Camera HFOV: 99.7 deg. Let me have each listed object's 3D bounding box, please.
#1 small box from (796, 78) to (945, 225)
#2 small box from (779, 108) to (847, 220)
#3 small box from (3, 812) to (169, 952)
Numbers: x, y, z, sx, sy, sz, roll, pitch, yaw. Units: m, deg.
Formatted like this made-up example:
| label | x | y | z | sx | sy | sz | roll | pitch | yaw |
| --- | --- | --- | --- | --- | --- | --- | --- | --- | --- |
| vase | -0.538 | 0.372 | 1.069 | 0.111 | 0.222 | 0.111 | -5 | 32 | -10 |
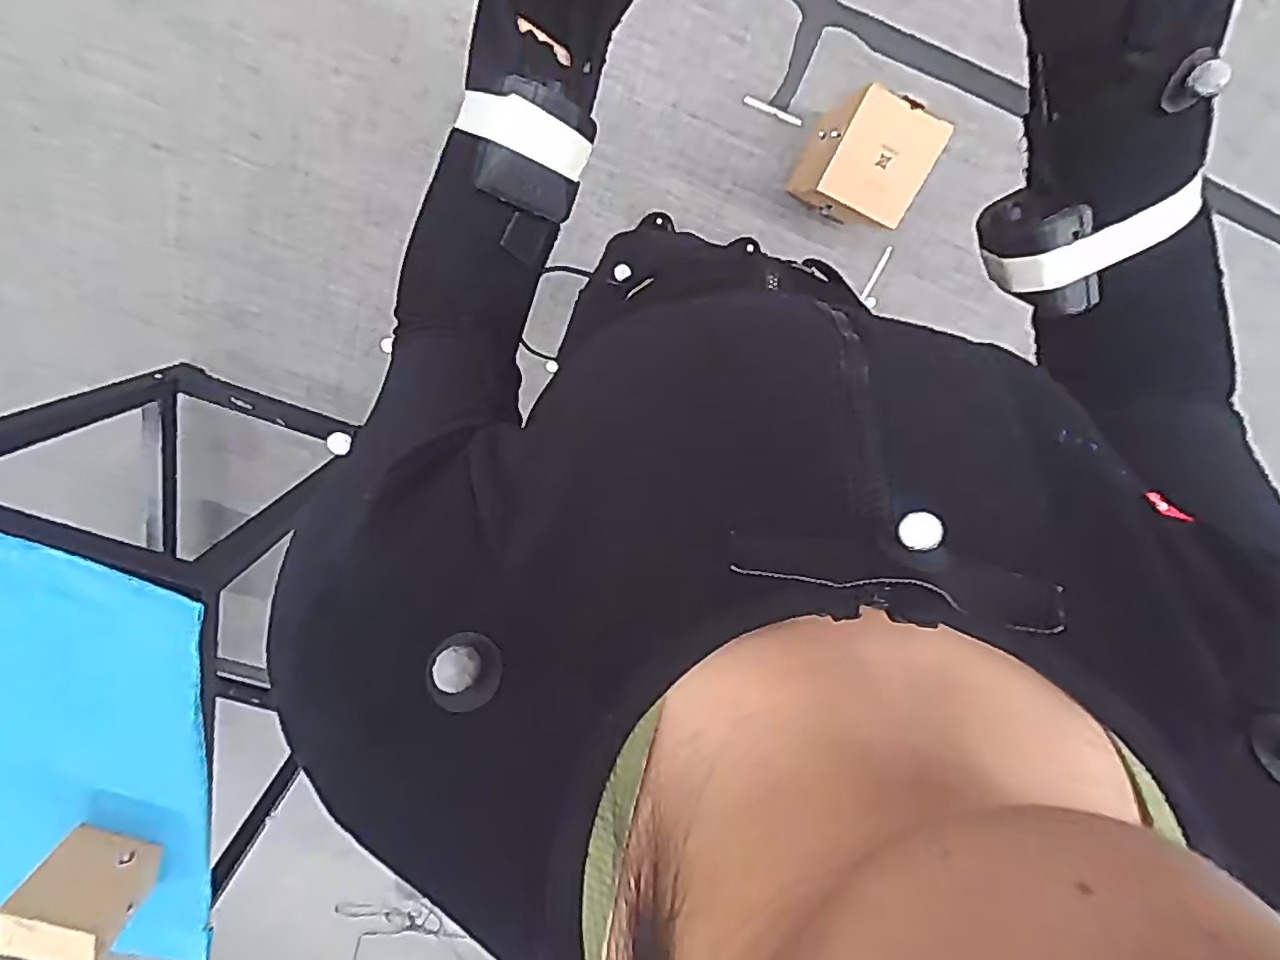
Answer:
| label | x | y | z | sx | sy | sz | roll | pitch | yaw |
| --- | --- | --- | --- | --- | --- | --- | --- | --- | --- |
| small box | 0.416 | -0.604 | 1.015 | 0.168 | 0.176 | 0.179 | 23 | 116 | -9 |
| small box | 0.429 | -0.677 | 1.161 | 0.179 | 0.176 | 0.168 | 22 | 114 | -11 |
| small box | -1.150 | 0.846 | 1.134 | 0.179 | 0.176 | 0.168 | 23 | 114 | -10 |
